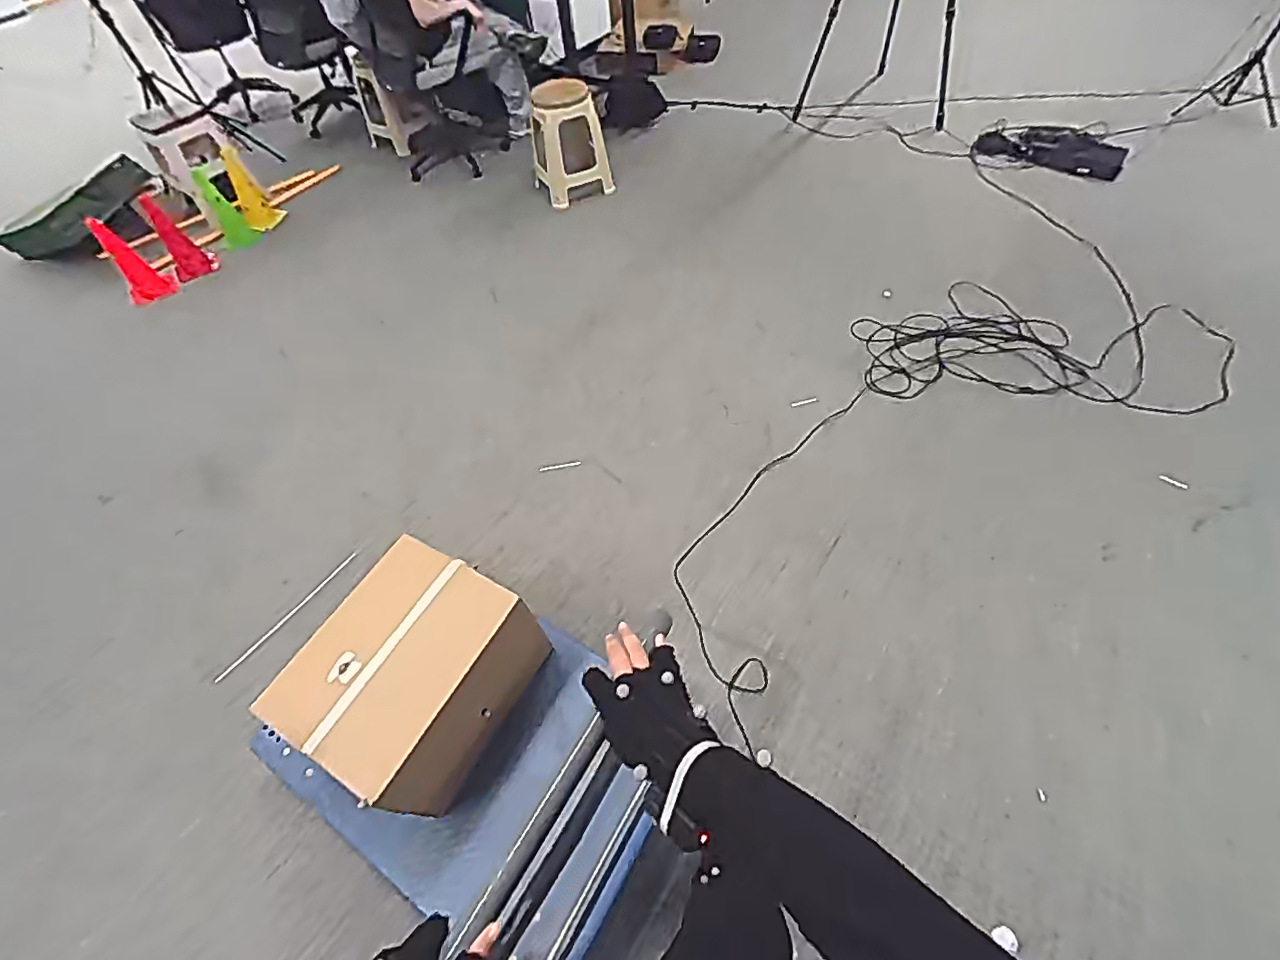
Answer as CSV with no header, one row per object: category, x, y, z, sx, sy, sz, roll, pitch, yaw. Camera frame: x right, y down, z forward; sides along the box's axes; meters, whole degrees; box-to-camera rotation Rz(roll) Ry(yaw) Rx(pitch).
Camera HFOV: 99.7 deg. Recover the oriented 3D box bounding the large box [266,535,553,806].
large box,-0.440,0.398,1.138,0.320,0.320,0.408,22,61,20
